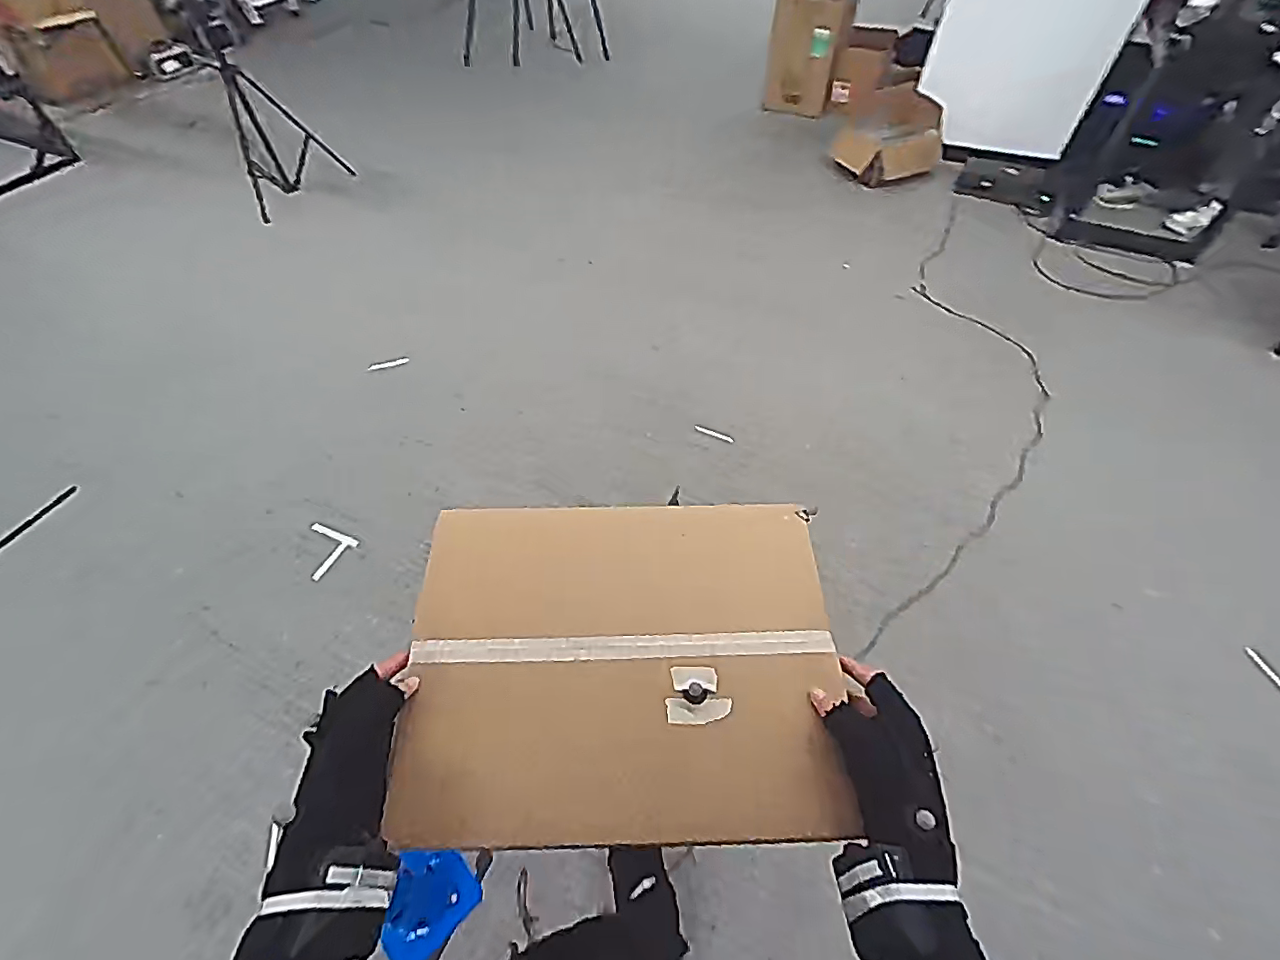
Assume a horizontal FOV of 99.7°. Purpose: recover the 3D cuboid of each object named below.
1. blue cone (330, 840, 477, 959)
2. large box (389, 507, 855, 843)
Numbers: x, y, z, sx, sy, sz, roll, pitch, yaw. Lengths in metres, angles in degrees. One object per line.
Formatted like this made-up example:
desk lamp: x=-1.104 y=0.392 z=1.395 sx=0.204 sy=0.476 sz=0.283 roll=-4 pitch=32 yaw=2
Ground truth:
blue cone: x=-0.471 y=0.801 z=1.028 sx=0.192 sy=0.380 sz=0.193 roll=-37 pitch=60 yaw=-23
large box: x=-0.020 y=0.247 z=0.659 sx=0.408 sy=0.320 sz=0.320 roll=-1 pitch=56 yaw=-1
